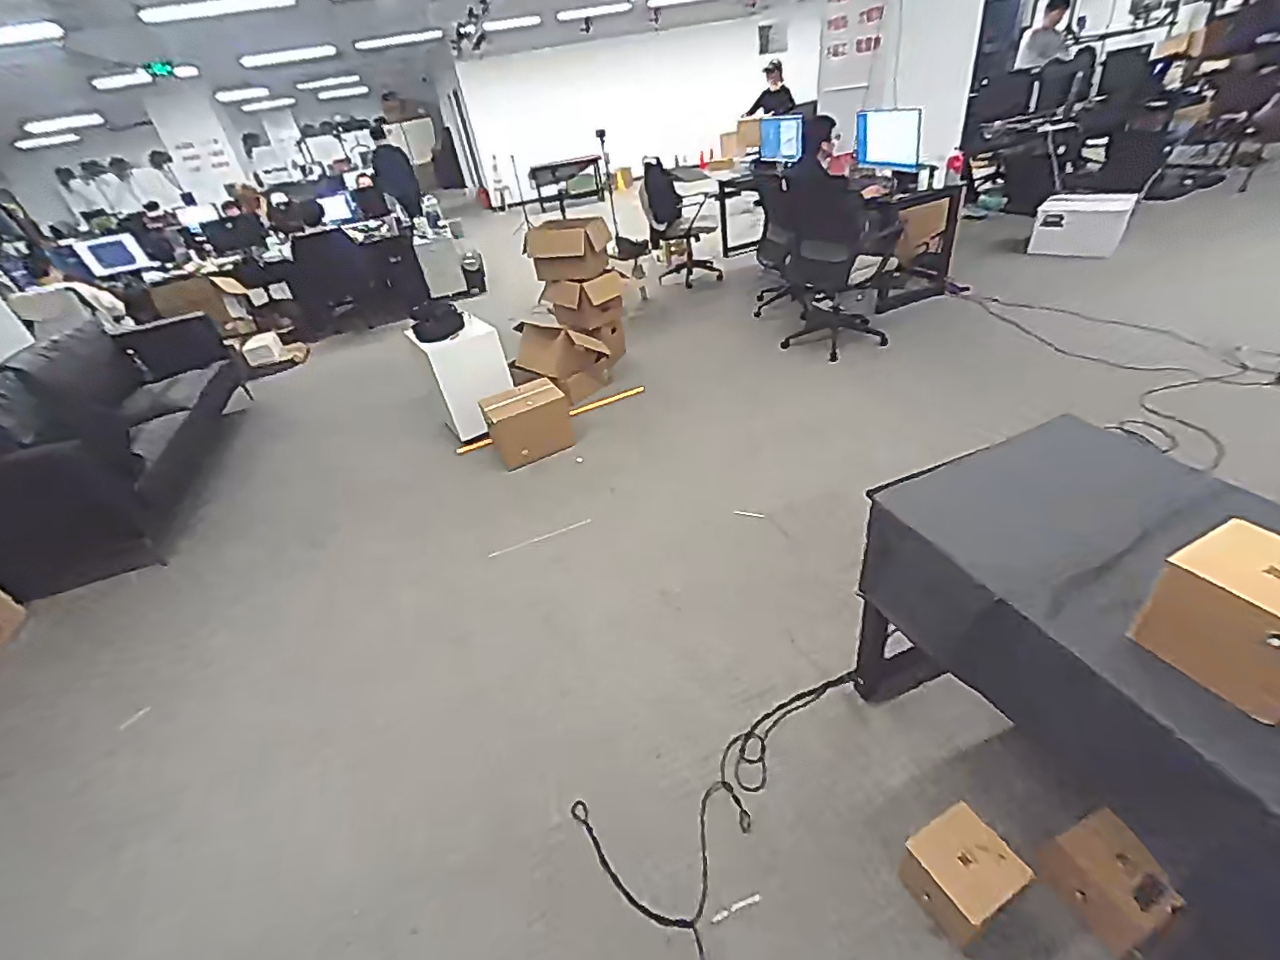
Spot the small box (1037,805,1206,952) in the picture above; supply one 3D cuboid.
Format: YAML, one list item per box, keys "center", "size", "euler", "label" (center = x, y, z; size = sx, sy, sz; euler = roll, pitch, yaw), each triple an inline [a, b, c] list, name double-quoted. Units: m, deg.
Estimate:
- center: [0.973, 0.822, 1.110]
  size: [0.168, 0.176, 0.179]
  euler: [-19, 35, -13]
  label: "small box"

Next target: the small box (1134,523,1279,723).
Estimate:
- center: [0.859, 0.196, 0.755]
  size: [0.168, 0.176, 0.179]
  euler: [-21, 37, -15]
  label: "small box"
